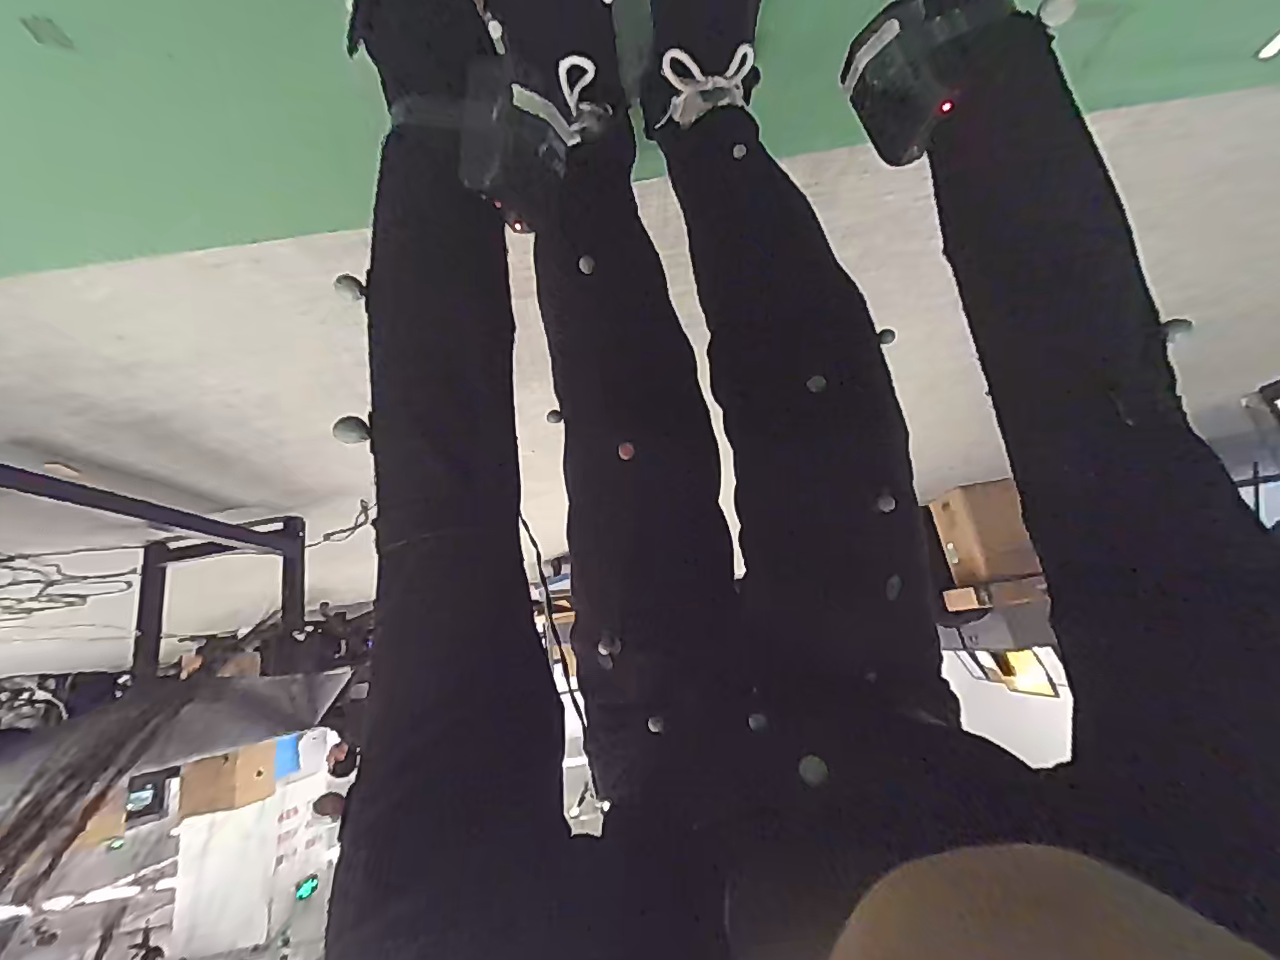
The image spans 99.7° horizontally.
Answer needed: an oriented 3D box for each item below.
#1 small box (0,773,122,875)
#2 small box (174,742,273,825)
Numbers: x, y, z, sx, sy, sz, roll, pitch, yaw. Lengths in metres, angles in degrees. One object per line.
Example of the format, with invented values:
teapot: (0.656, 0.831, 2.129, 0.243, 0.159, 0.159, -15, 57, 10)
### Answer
small box: (-1.472, 0.862, 1.364, 0.168, 0.176, 0.179, -10, 163, -2)
small box: (-1.229, 0.894, 1.606, 0.168, 0.176, 0.179, -9, 163, 0)
